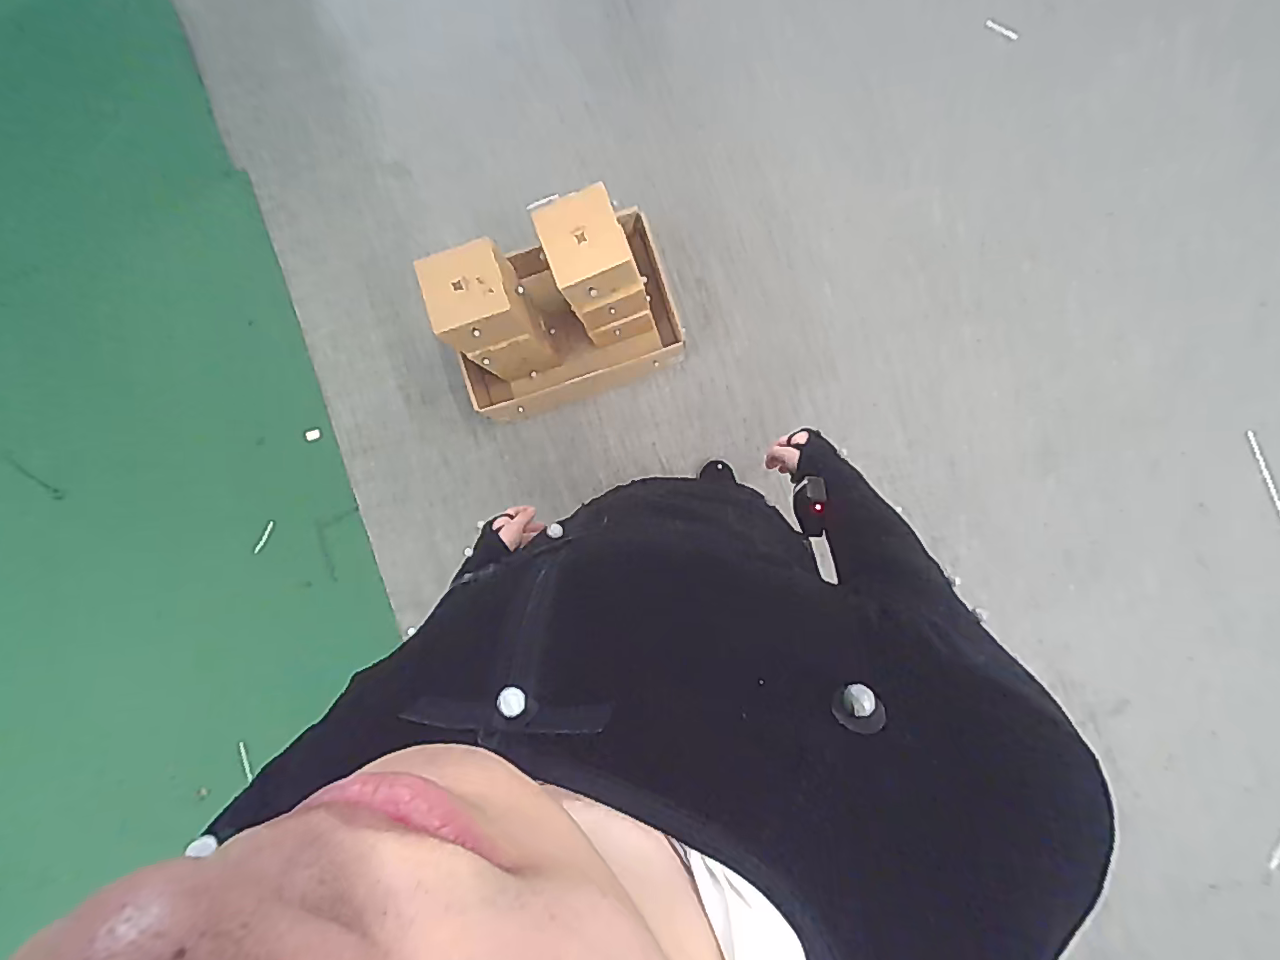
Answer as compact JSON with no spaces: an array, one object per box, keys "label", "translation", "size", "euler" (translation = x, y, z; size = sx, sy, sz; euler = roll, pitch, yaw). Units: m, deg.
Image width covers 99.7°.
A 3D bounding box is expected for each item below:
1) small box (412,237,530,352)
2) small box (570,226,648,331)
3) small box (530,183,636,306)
[{"label":"small box","translation":[-0.369,-0.403,1.207],"size":[0.179,0.176,0.168],"euler":[-17,88,4]},{"label":"small box","translation":[-0.091,-0.493,1.350],"size":[0.179,0.176,0.168],"euler":[-20,90,5]},{"label":"small box","translation":[-0.116,-0.502,1.190],"size":[0.168,0.176,0.179],"euler":[-21,89,6]}]
